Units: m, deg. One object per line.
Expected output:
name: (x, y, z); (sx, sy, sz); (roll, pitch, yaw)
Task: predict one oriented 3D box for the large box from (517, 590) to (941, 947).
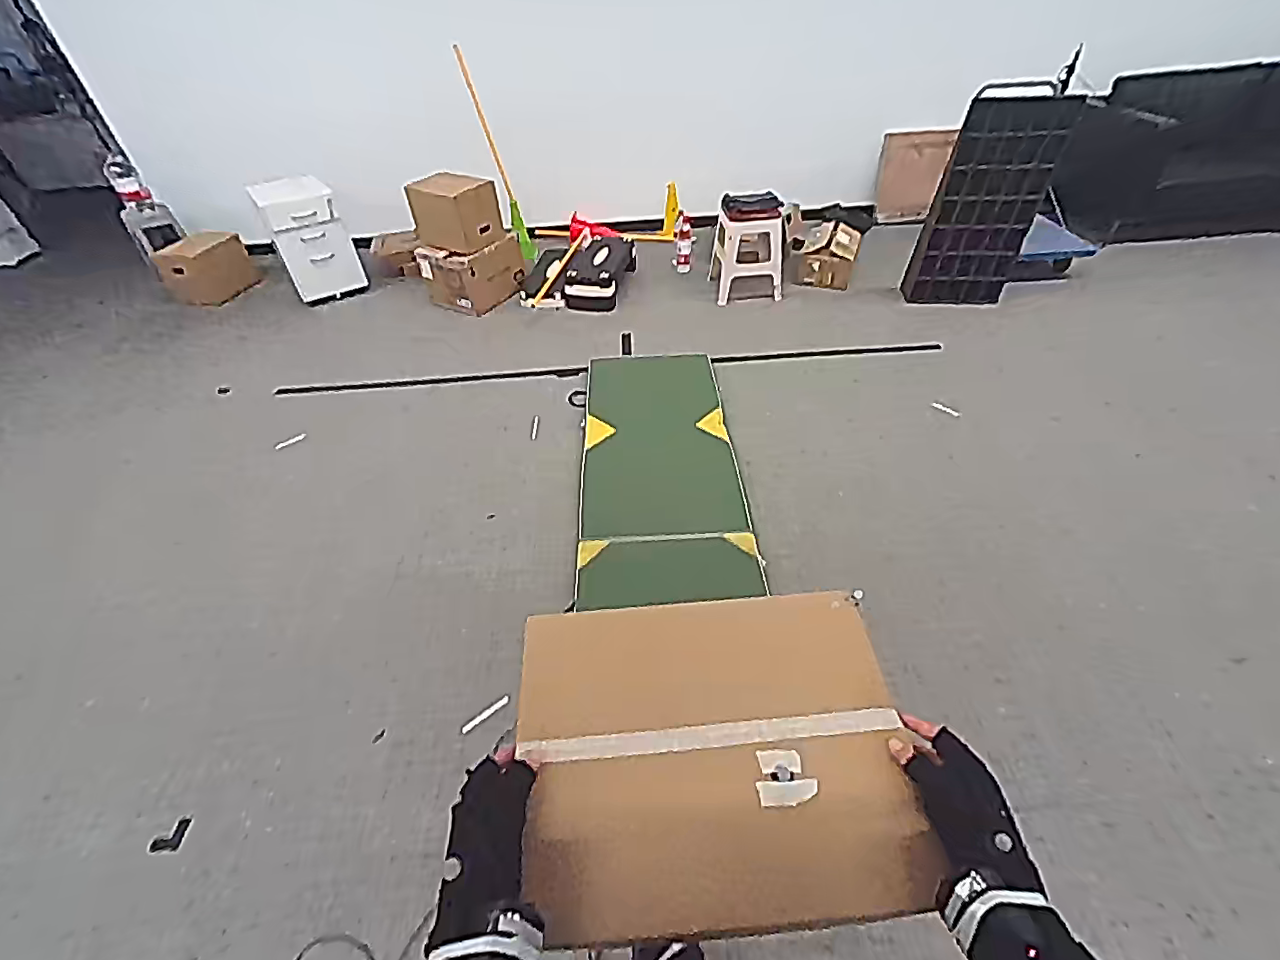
large box: (0.073, 0.373, 0.700); (0.408, 0.320, 0.320); (-5, 49, -2)
